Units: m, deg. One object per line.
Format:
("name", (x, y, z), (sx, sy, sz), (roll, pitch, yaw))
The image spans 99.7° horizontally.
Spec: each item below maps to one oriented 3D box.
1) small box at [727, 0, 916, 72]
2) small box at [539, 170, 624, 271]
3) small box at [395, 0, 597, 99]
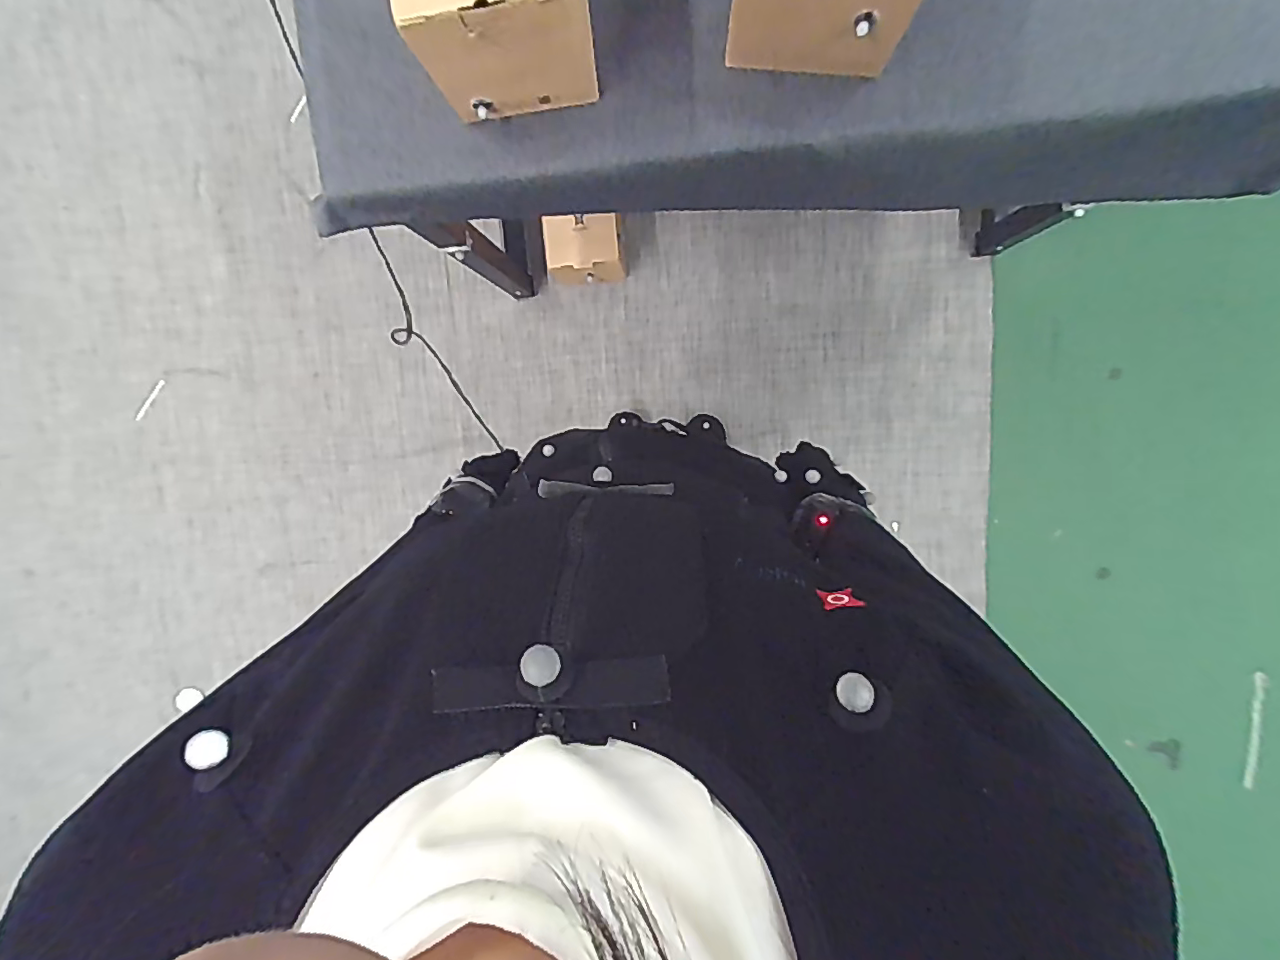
("small box", (0.188, -0.539, 0.528), (0.179, 0.176, 0.168), (7, 97, 4))
("small box", (-0.131, -0.602, 1.278), (0.168, 0.176, 0.179), (-3, 98, 4))
("small box", (-0.141, -0.523, 0.549), (0.168, 0.176, 0.179), (-5, 96, 4))
